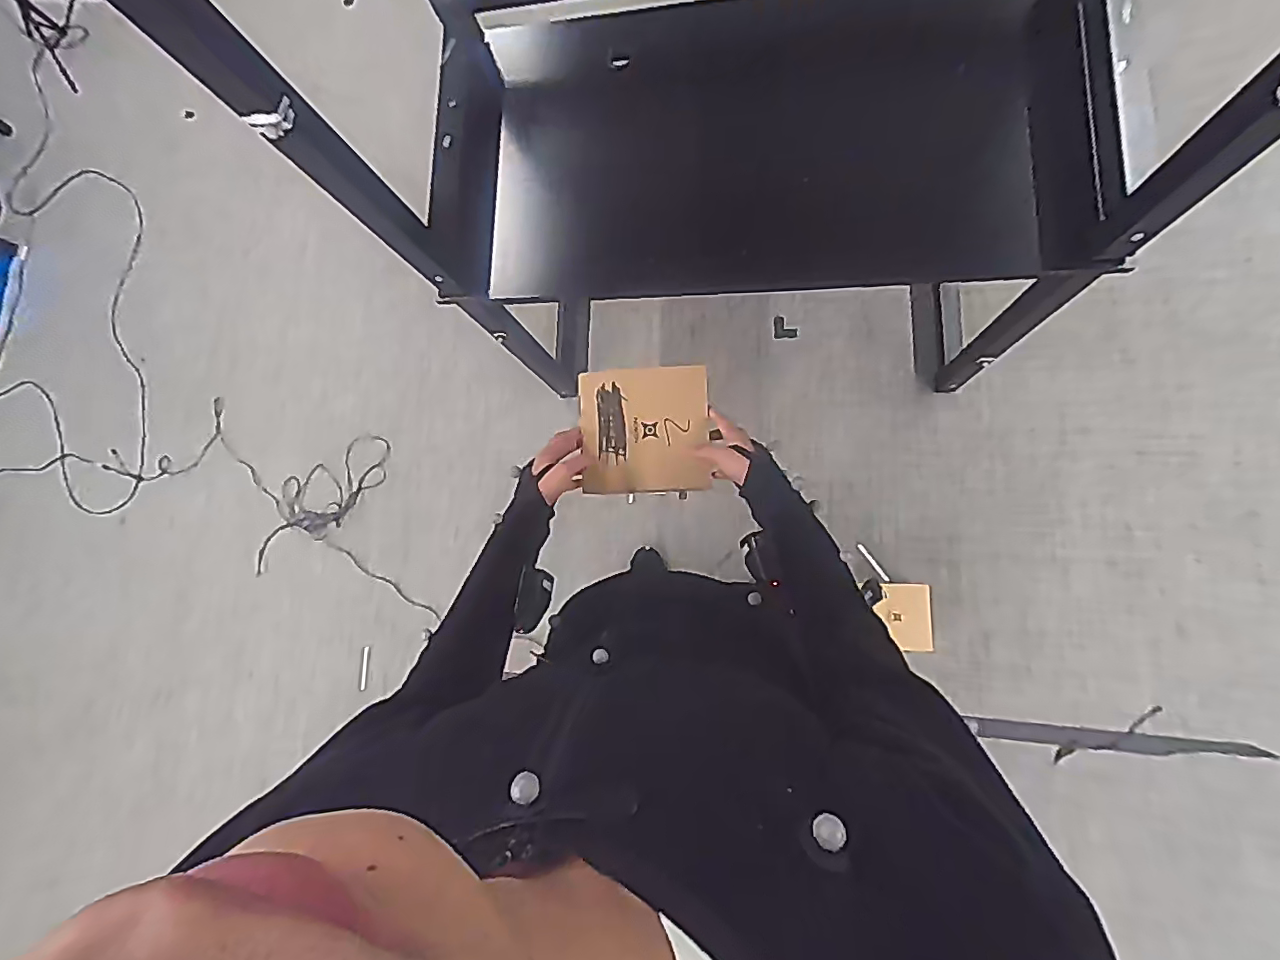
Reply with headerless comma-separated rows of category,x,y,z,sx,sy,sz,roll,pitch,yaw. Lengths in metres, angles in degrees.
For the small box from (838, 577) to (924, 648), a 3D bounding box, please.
small box,0.638,0.347,1.447,0.179,0.176,0.168,0,82,10
